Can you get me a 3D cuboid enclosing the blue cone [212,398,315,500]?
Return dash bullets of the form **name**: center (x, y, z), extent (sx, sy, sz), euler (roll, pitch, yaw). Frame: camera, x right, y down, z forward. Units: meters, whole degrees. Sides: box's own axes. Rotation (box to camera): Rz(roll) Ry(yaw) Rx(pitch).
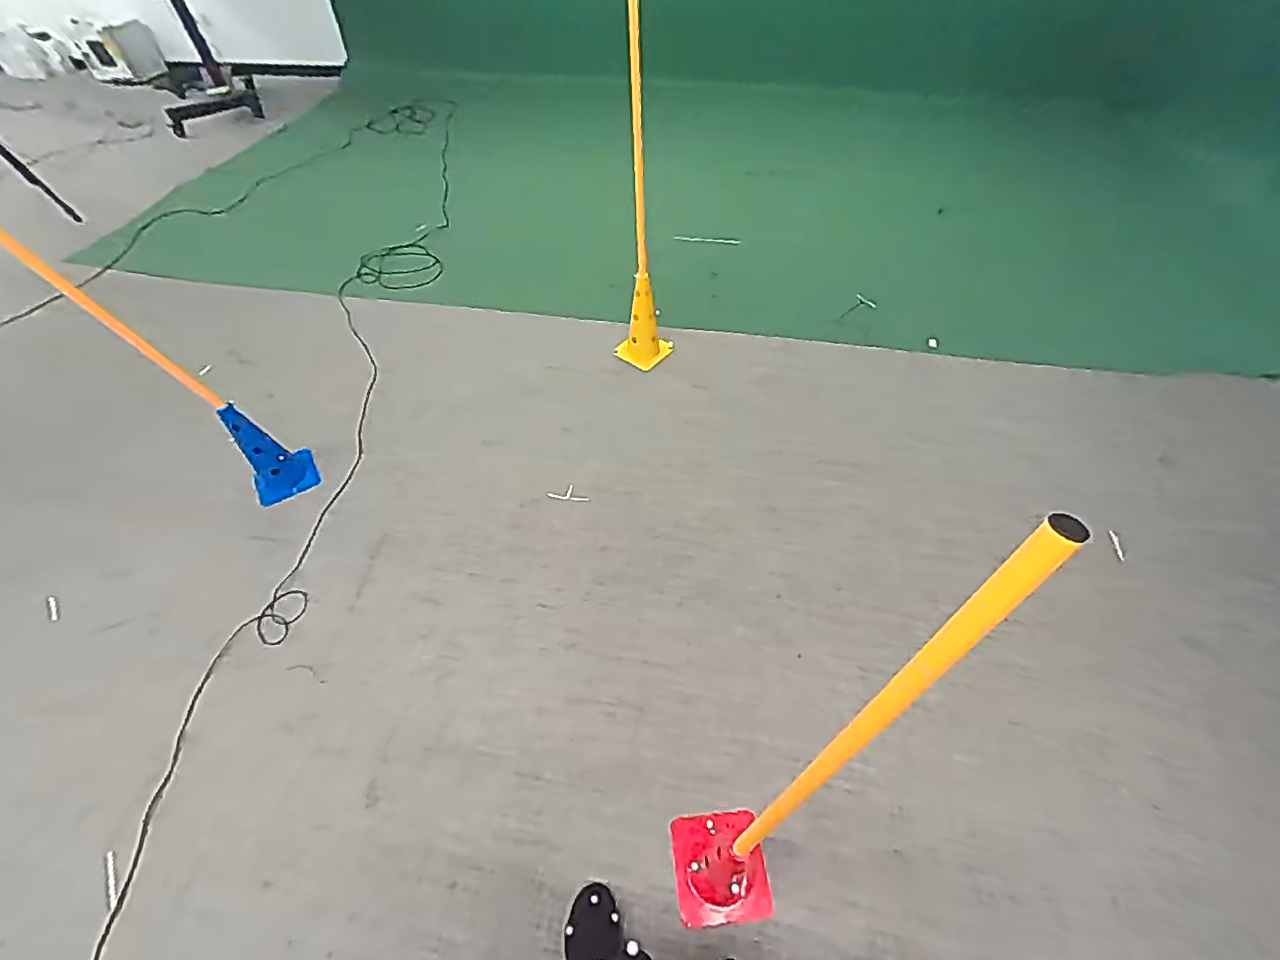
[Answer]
- **blue cone**: center (-1.259, -0.120, 1.771), extent (0.193, 0.380, 0.192), euler (-30, 58, -18)
